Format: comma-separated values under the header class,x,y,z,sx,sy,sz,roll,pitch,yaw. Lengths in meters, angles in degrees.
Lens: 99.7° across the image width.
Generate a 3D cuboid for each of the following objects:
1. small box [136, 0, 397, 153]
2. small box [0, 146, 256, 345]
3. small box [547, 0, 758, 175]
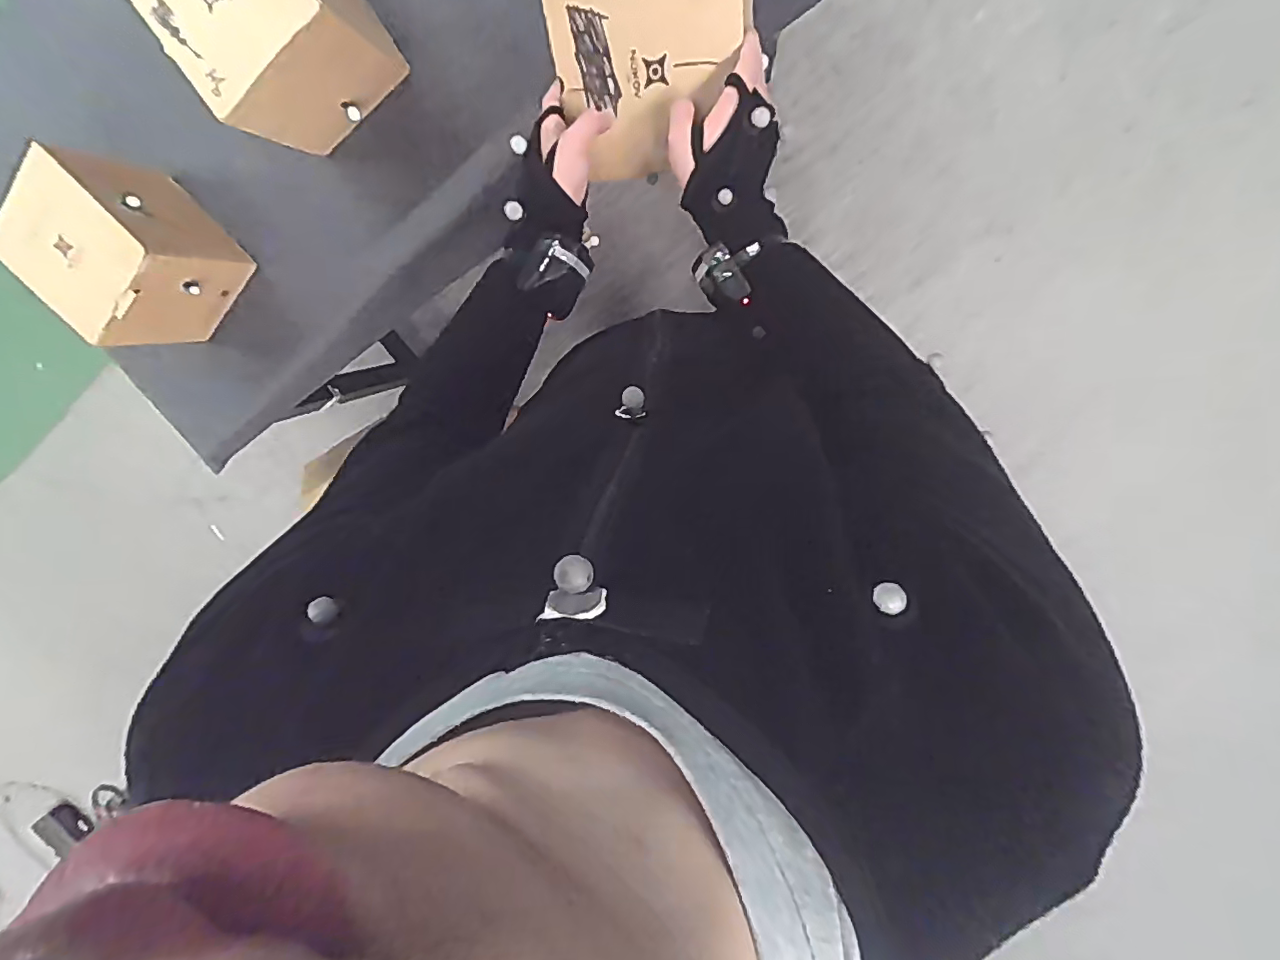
class,x,y,z,sx,sy,sz,roll,pitch,yaw
small box,-0.418,-0.527,0.631,0.179,0.176,0.168,-30,101,17
small box,-0.694,-0.312,0.751,0.168,0.176,0.179,-41,96,18
small box,0.026,-0.418,0.545,0.179,0.176,0.168,1,127,13
